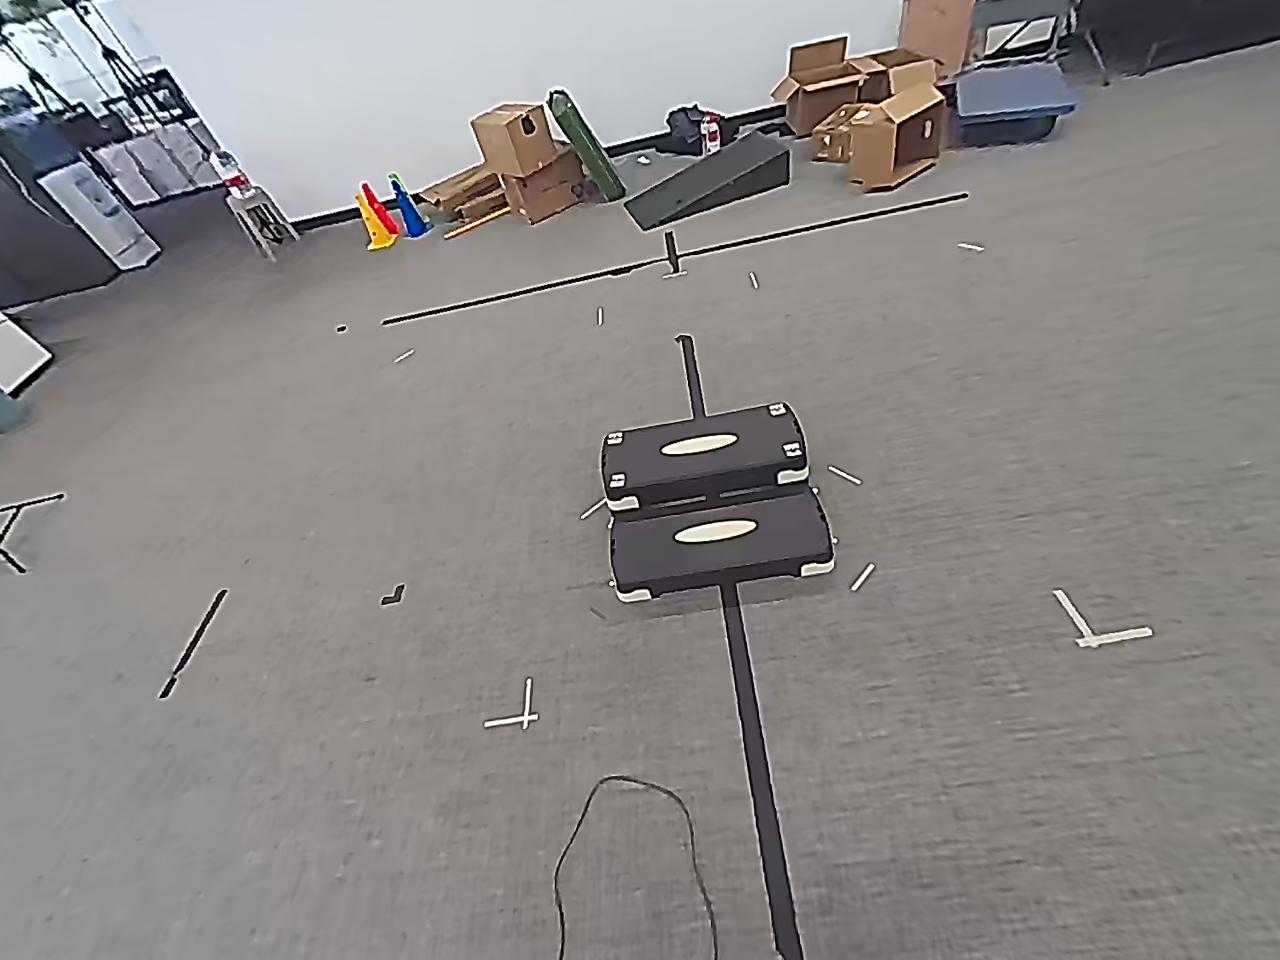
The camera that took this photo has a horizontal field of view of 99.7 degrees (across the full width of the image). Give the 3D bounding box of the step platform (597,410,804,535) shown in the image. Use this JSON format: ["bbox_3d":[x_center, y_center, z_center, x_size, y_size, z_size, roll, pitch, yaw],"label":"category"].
[{"bbox_3d":[0.195,-0.030,1.832,0.684,0.204,0.286,-10,48,5],"label":"step platform"}]
